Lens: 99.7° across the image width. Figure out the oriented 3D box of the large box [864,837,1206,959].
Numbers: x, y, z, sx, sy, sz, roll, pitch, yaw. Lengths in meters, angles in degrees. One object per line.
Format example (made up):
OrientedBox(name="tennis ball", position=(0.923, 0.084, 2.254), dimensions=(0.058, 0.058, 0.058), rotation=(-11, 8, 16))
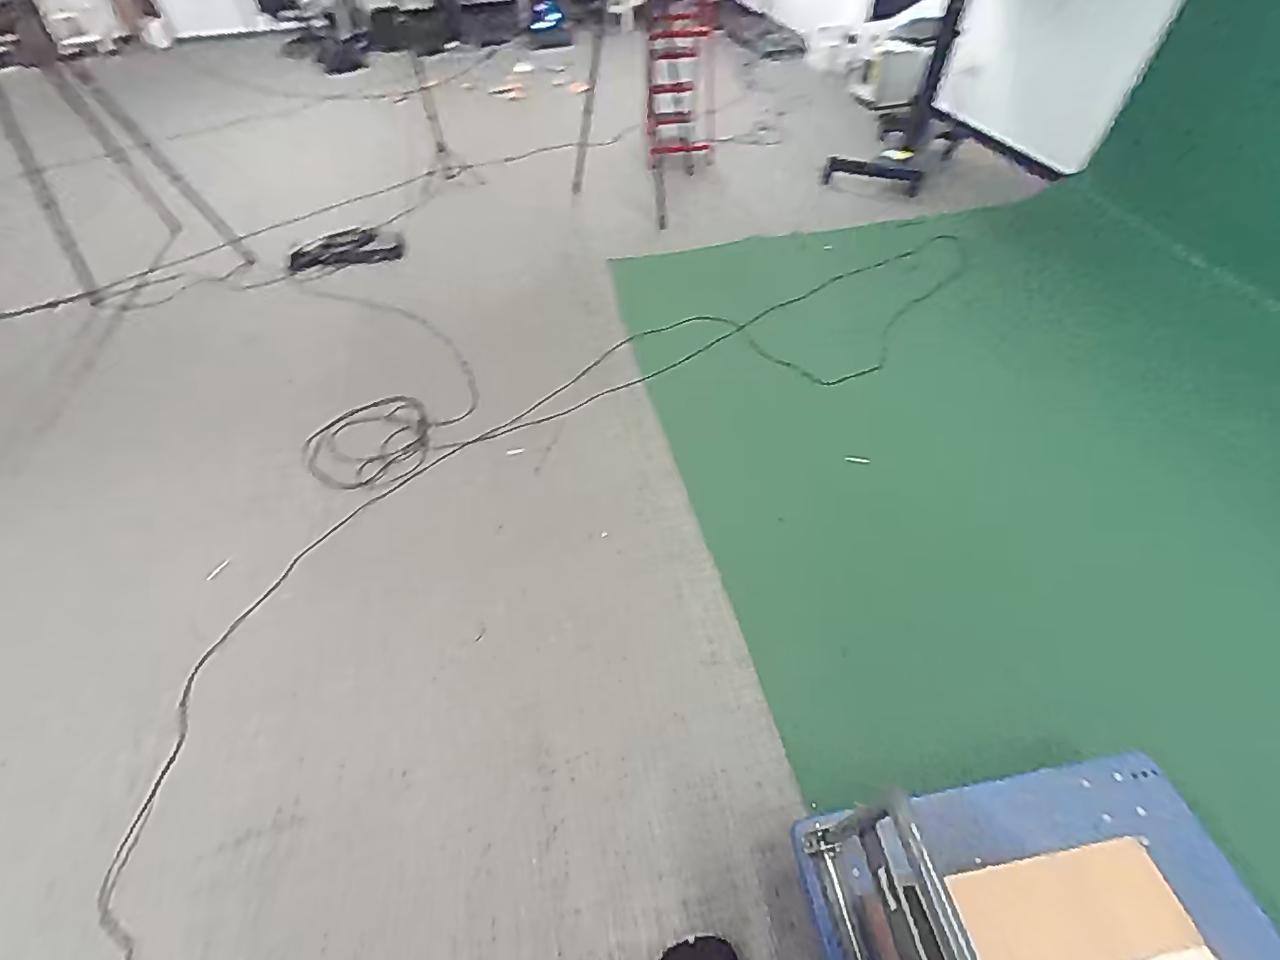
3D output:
OrientedBox(name="large box", position=(0.674, 0.857, 0.929), dimensions=(0.408, 0.320, 0.320), rotation=(-8, 50, -5))
